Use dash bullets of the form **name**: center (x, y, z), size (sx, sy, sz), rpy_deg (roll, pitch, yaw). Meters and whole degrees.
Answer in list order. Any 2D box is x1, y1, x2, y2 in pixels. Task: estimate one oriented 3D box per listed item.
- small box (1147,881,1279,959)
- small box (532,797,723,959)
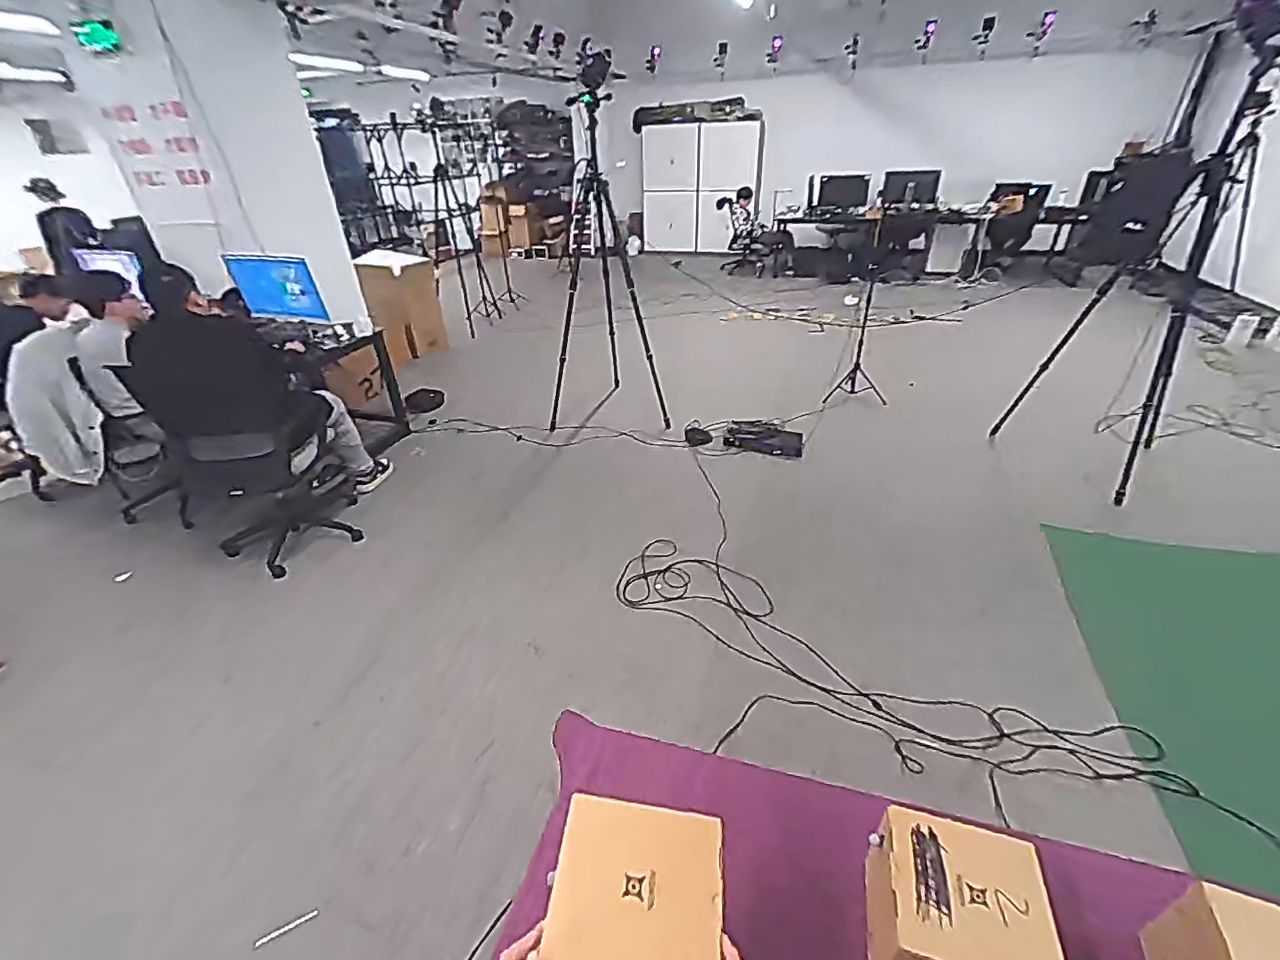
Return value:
- **small box**: center (0.716, 0.604, 0.593), size (0.168, 0.176, 0.179), rpy_deg (11, 34, 21)
- **small box**: center (-0.010, 0.481, 0.584), size (0.179, 0.176, 0.168), rpy_deg (9, 33, 3)
